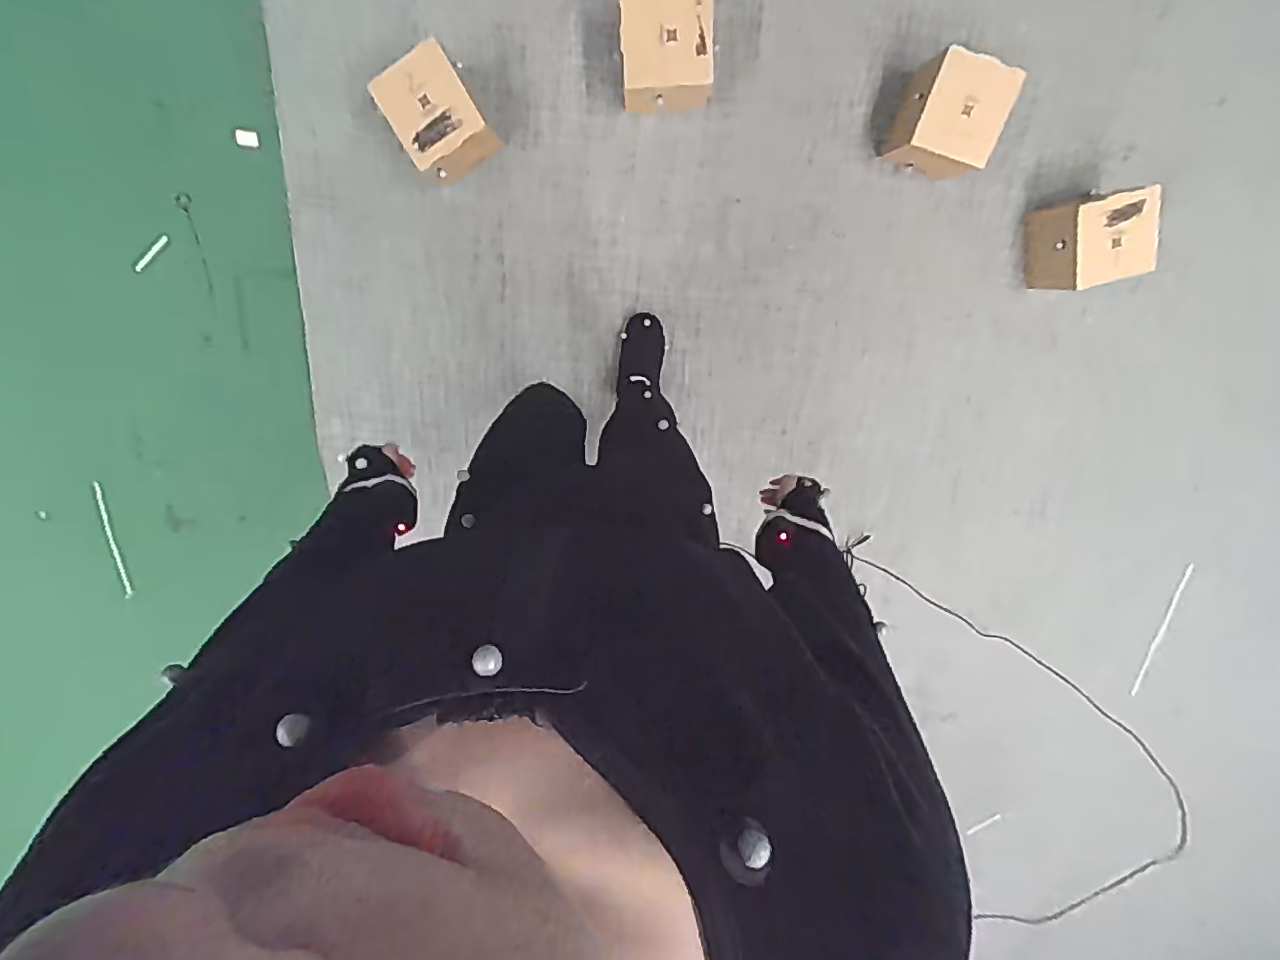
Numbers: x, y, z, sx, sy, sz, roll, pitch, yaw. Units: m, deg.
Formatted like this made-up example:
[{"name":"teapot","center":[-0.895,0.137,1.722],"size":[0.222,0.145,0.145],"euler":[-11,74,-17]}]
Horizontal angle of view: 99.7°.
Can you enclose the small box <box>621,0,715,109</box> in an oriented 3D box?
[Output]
[{"name":"small box","center":[0.056,-0.868,1.089],"size":[0.179,0.176,0.168],"euler":[-2,111,2]}]

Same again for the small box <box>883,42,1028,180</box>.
[{"name":"small box","center":[0.644,-0.758,1.132],"size":[0.168,0.176,0.179],"euler":[16,110,-6]}]

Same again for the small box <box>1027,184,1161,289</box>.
[{"name":"small box","center":[1.008,-0.538,1.216],"size":[0.168,0.176,0.179],"euler":[-14,111,6]}]
